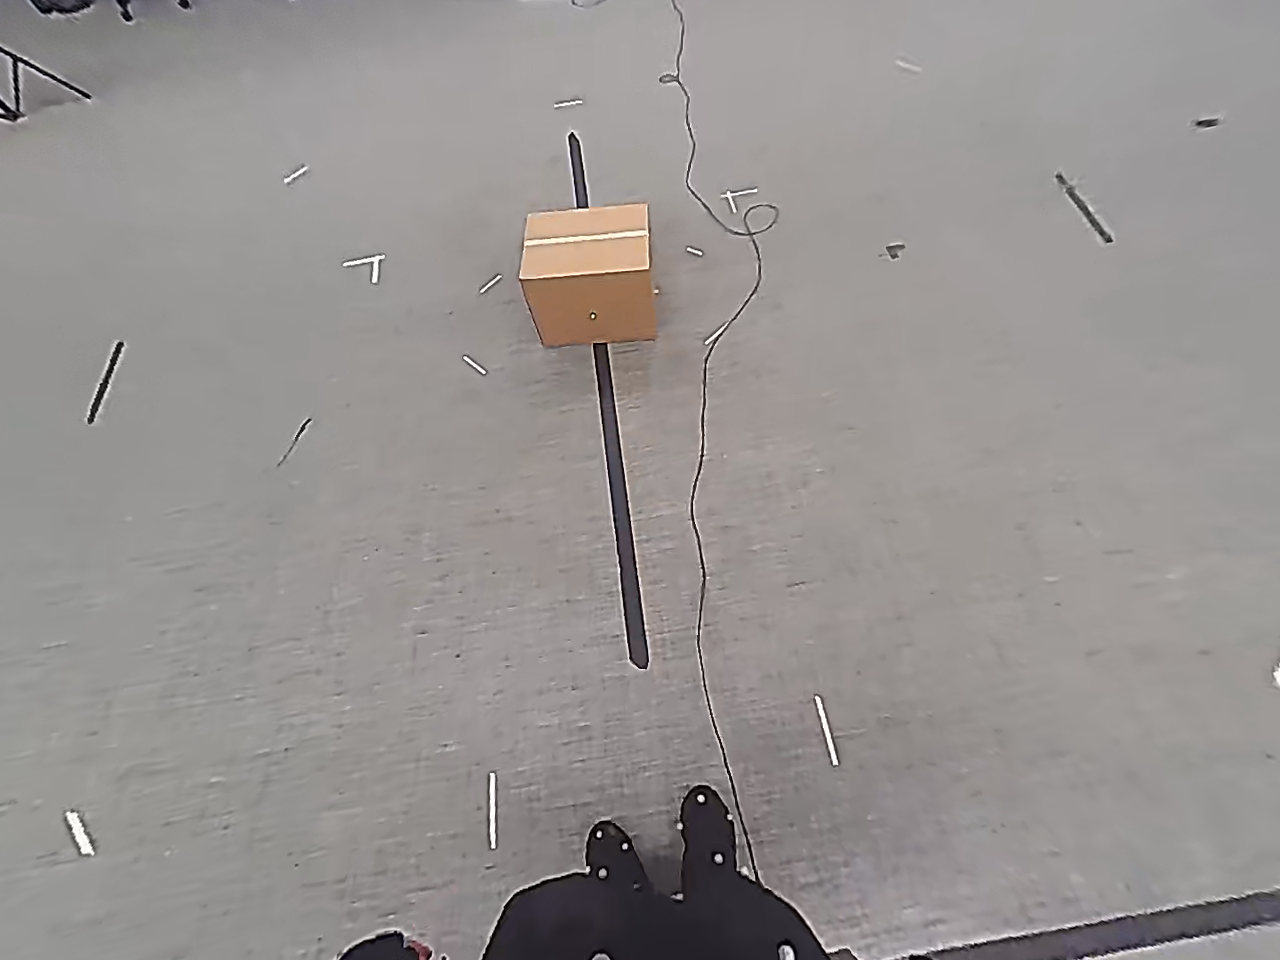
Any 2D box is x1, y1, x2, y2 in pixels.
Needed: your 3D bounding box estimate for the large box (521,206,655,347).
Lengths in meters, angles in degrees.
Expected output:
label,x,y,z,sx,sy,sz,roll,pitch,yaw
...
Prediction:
label,x,y,z,sx,sy,sz,roll,pitch,yaw
large box,-0.161,-0.681,1.836,0.408,0.320,0.320,-3,63,4
